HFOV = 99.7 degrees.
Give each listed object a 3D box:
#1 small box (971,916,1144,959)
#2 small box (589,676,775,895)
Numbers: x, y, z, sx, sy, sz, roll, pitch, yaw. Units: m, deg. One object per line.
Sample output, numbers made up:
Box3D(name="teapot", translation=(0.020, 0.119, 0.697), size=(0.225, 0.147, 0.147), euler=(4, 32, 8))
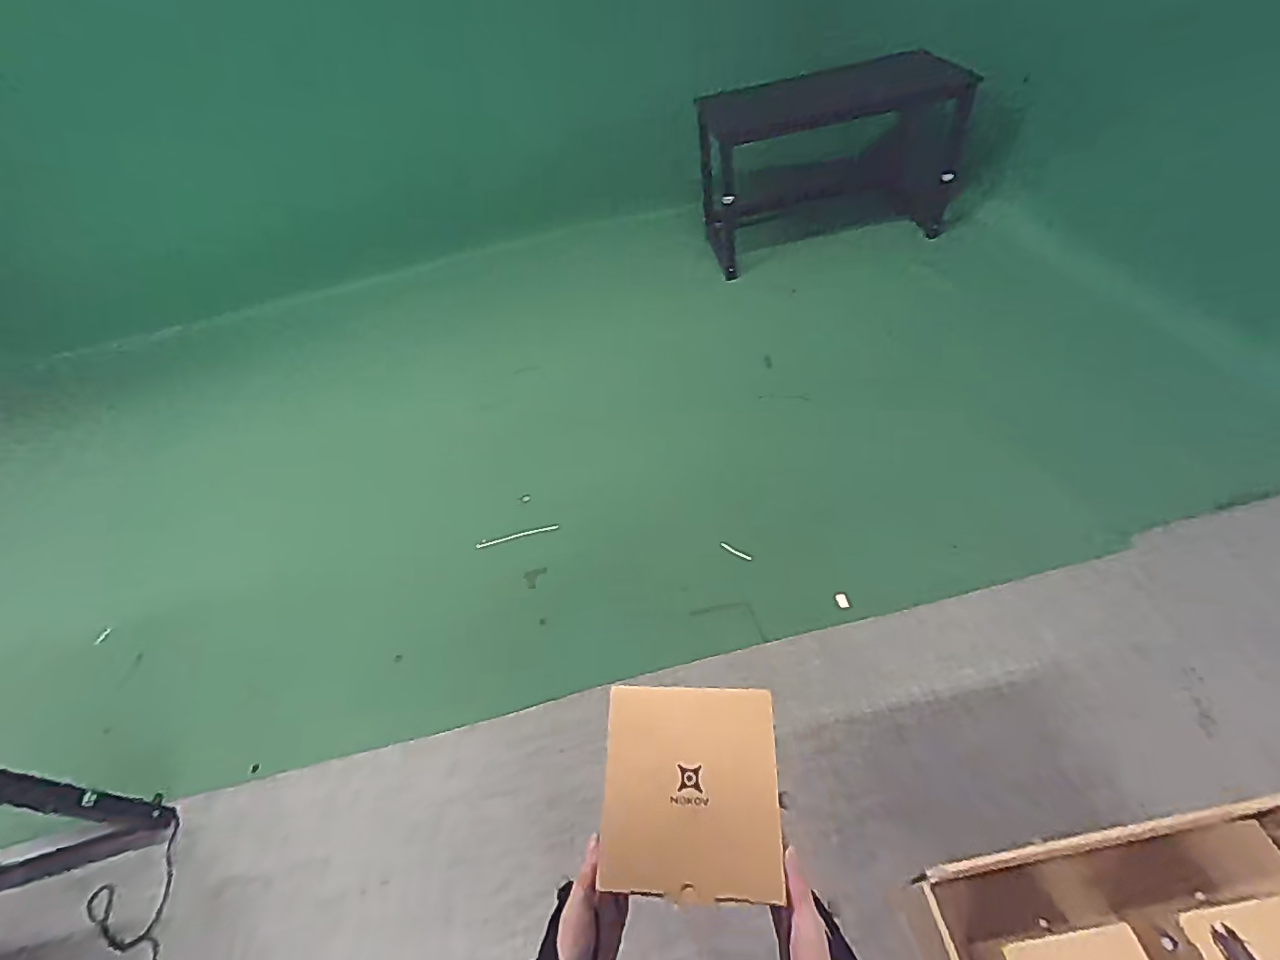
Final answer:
Box3D(name="small box", translation=(0.593, 0.725, 0.749), size=(0.179, 0.176, 0.168), euler=(-10, 49, 1))
Box3D(name="small box", translation=(0.047, 0.320, 0.580), size=(0.168, 0.176, 0.179), euler=(-1, 60, 6))
